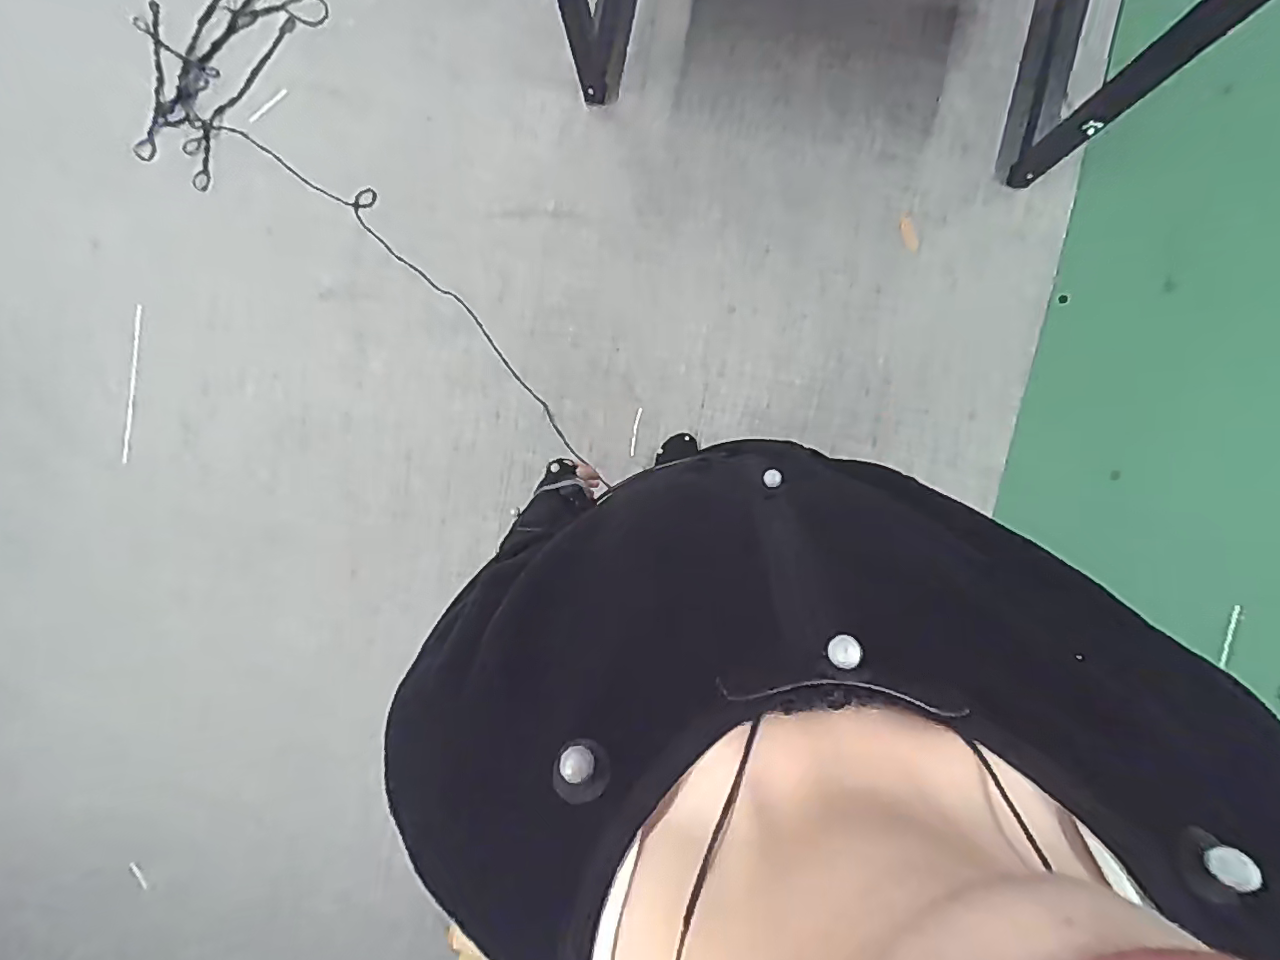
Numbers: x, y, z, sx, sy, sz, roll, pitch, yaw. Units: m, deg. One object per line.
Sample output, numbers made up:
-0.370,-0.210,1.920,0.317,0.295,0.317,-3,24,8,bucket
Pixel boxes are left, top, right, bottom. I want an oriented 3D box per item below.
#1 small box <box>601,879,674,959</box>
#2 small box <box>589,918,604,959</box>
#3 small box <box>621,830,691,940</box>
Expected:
0.000,1.123,1.316,0.168,0.176,0.179,-1,93,4,small box
-0.049,1.371,1.497,0.179,0.176,0.168,18,95,3,small box
0.035,1.108,1.477,0.168,0.176,0.179,17,94,5,small box
